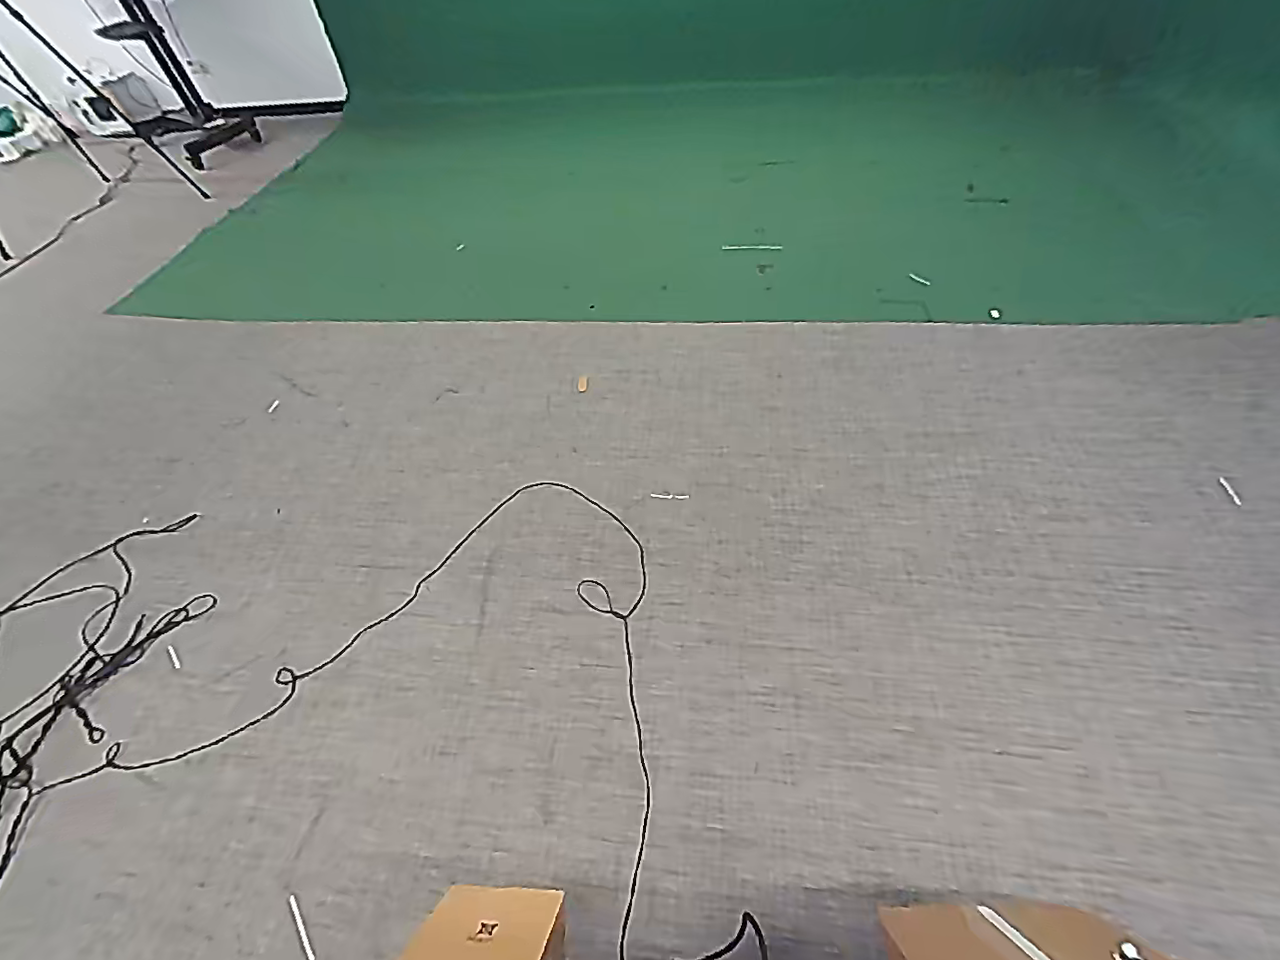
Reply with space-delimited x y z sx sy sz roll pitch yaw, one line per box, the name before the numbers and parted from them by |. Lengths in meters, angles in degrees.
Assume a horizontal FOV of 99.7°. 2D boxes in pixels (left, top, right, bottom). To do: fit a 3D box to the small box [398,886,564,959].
small box | -0.195 0.644 0.661 0.168 0.179 0.176 -1 83 5
